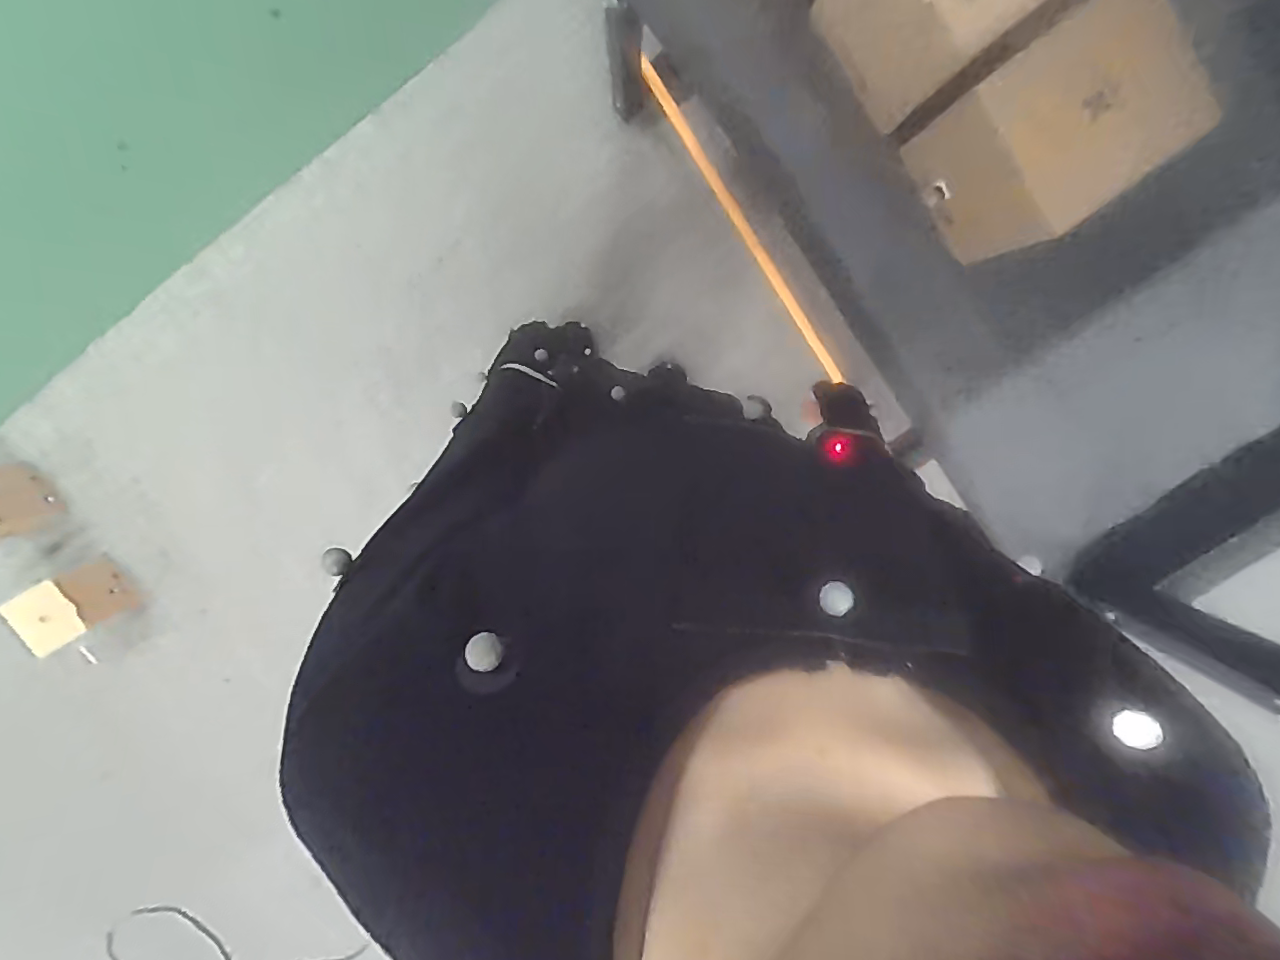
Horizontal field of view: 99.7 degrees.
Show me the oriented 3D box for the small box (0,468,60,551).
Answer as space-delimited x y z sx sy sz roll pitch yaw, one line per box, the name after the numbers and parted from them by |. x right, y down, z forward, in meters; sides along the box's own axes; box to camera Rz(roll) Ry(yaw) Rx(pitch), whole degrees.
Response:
-1.697 0.087 1.411 0.179 0.176 0.168 -33 100 7 | small box

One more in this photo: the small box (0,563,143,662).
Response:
-1.531 0.353 1.467 0.179 0.176 0.168 -28 100 5 | small box
